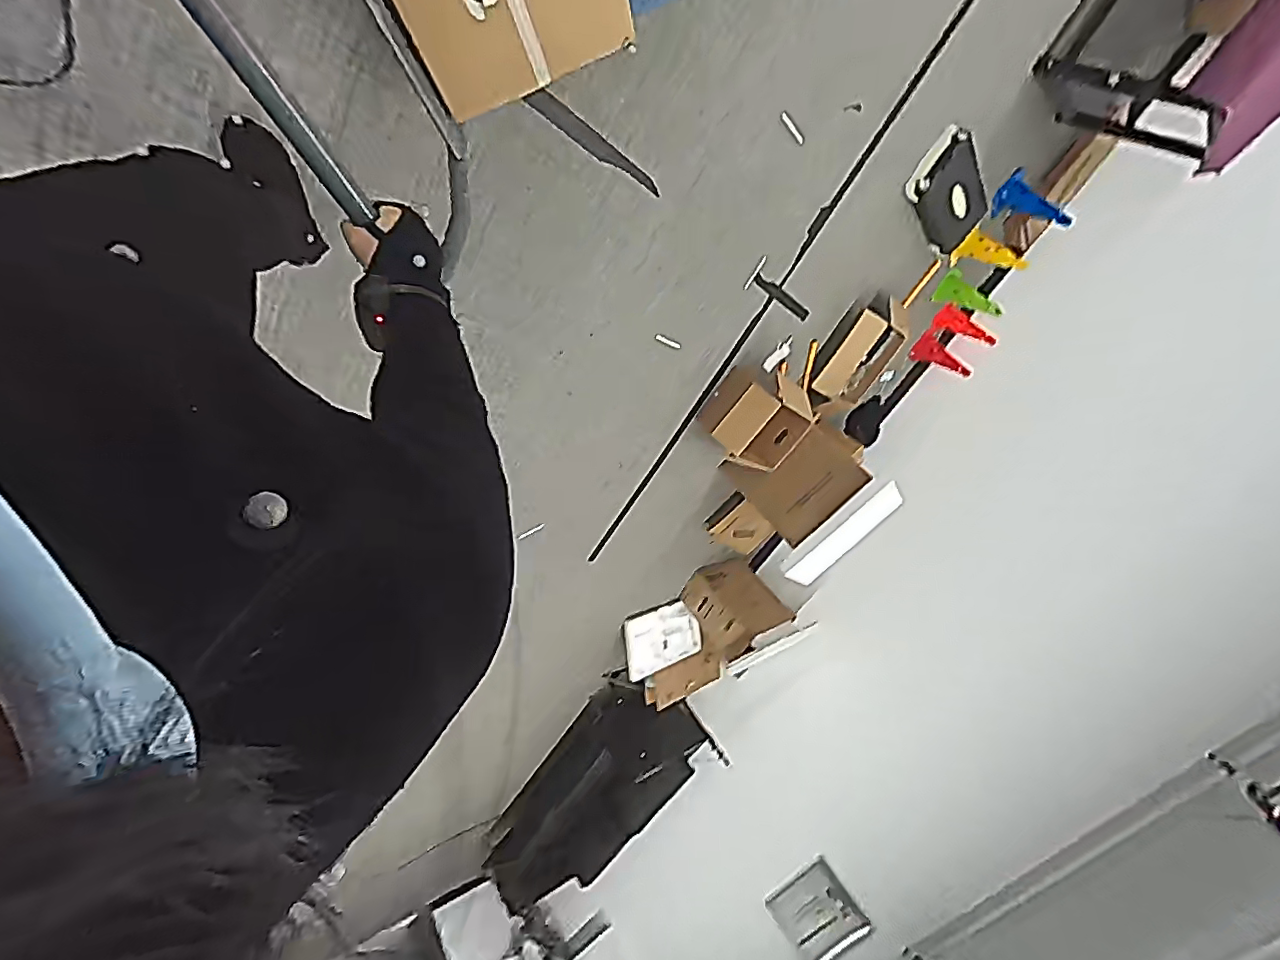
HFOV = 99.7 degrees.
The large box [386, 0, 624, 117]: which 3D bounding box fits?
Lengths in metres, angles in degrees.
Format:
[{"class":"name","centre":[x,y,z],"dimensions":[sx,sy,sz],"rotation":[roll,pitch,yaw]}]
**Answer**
[{"class":"large box","centre":[-0.257,-0.847,0.768],"dimensions":[0.320,0.320,0.408],"rotation":[-21,148,3]}]
